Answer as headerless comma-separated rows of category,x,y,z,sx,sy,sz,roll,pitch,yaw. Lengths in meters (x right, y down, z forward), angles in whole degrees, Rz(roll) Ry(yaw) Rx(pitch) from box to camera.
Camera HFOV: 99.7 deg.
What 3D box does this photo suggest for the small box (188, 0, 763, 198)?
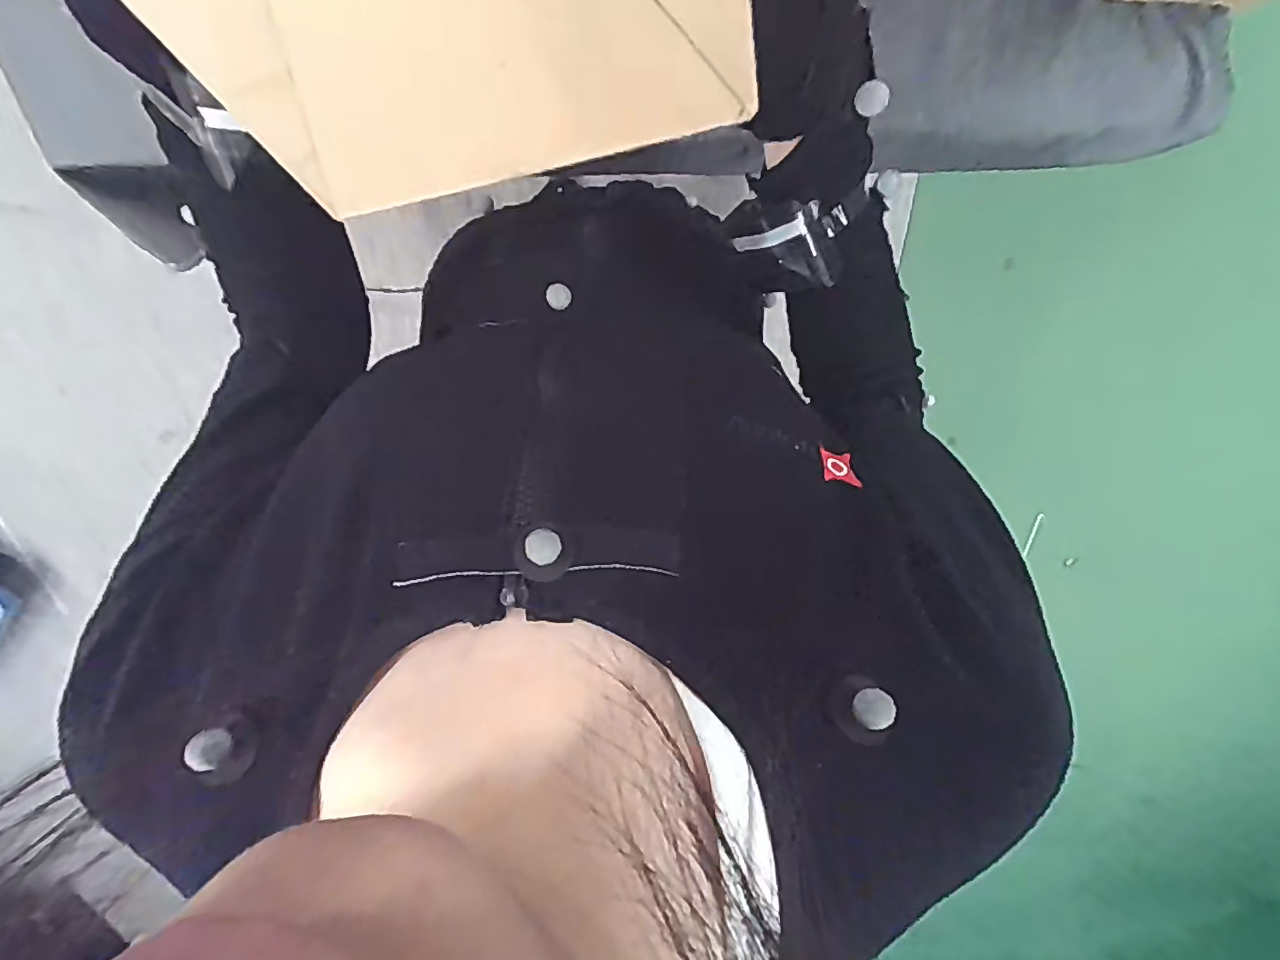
small box,-0.058,-0.217,0.148,0.168,0.176,0.179,-6,157,15
